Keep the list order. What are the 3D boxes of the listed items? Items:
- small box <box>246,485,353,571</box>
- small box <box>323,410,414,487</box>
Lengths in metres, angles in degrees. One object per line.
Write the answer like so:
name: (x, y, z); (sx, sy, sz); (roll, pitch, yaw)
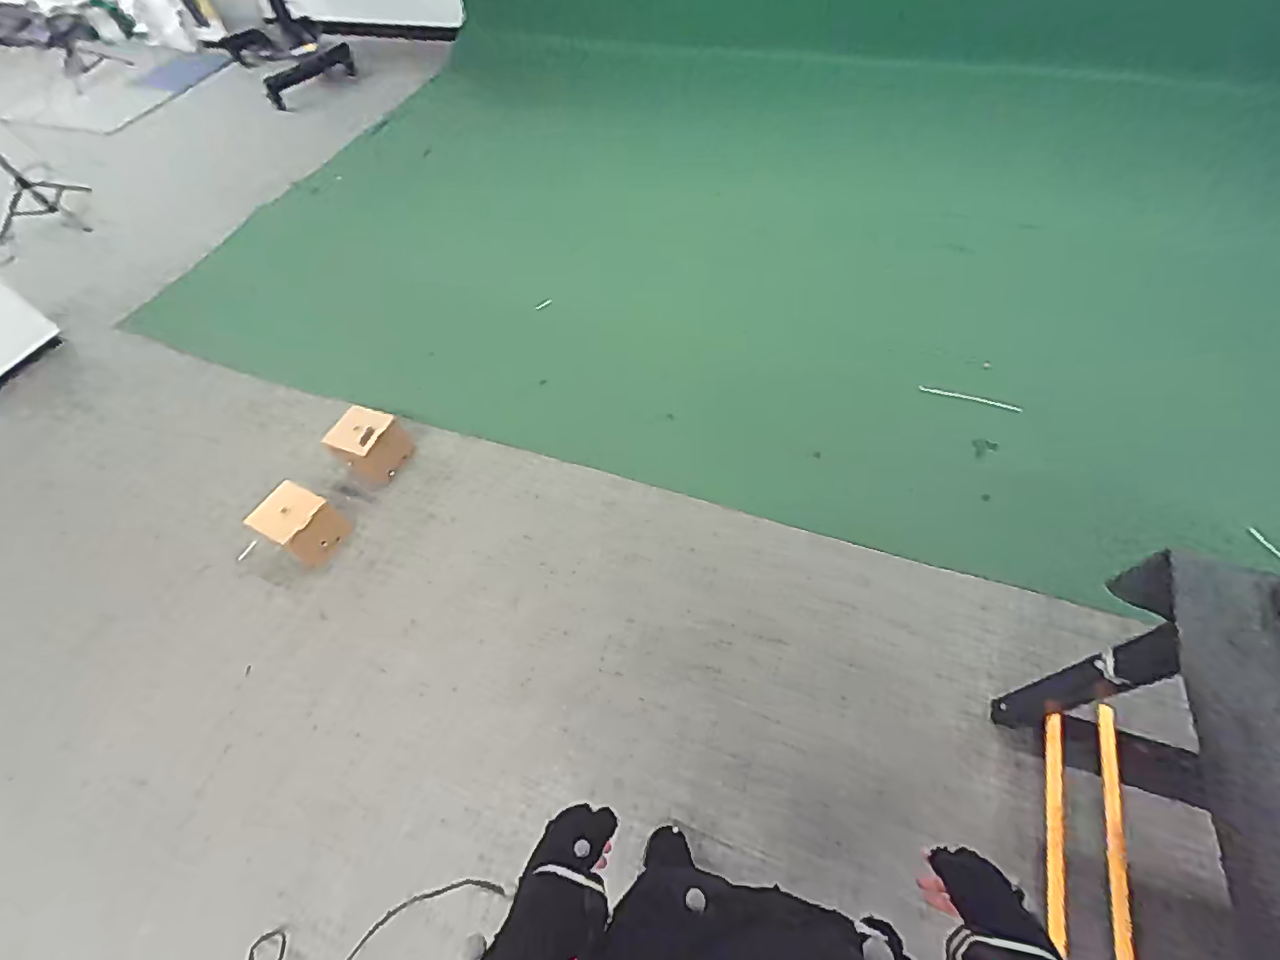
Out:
small box: (-1.015, 0.149, 1.627); (0.179, 0.176, 0.168); (22, 61, 17)
small box: (-0.883, -0.098, 1.780); (0.179, 0.176, 0.168); (17, 59, 16)
